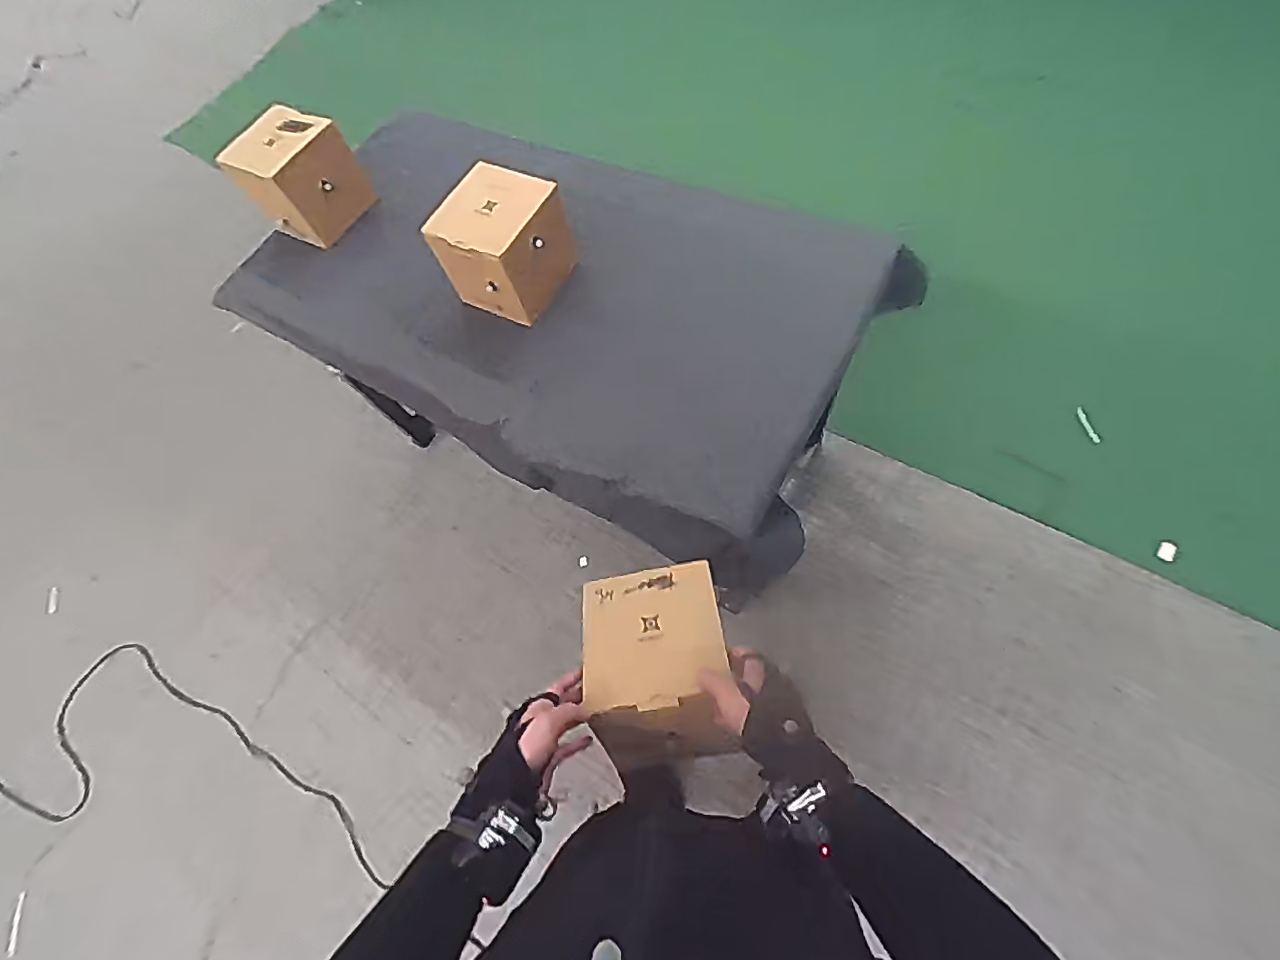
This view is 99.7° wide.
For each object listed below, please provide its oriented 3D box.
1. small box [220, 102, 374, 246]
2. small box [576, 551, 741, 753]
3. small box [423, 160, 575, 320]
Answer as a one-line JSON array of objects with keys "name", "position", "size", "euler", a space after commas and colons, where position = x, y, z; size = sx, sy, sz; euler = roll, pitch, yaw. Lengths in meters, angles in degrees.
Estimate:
[{"name": "small box", "position": [-0.683, -0.621, 1.105], "size": [0.168, 0.176, 0.179], "euler": [26, 72, 18]}, {"name": "small box", "position": [0.024, 0.218, 0.669], "size": [0.168, 0.176, 0.179], "euler": [-11, 43, 5]}, {"name": "small box", "position": [-0.234, -0.415, 0.951], "size": [0.168, 0.176, 0.179], "euler": [25, 71, 17]}]
